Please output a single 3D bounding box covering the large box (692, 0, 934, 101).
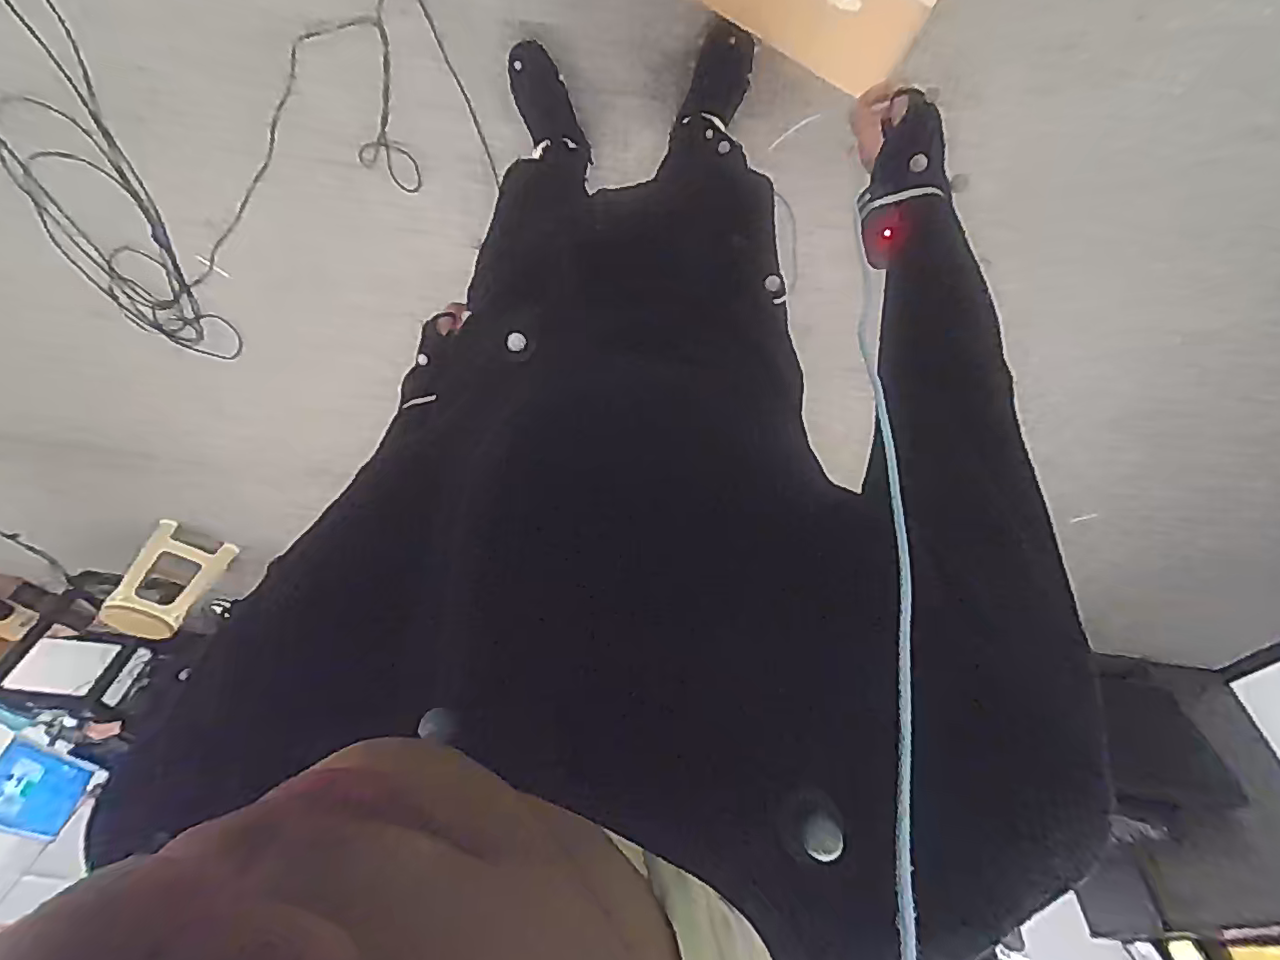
[{"bbox_3d":[0.293,-0.929,0.905,0.408,0.320,0.320,20,136,-15],"label":"large box"}]
